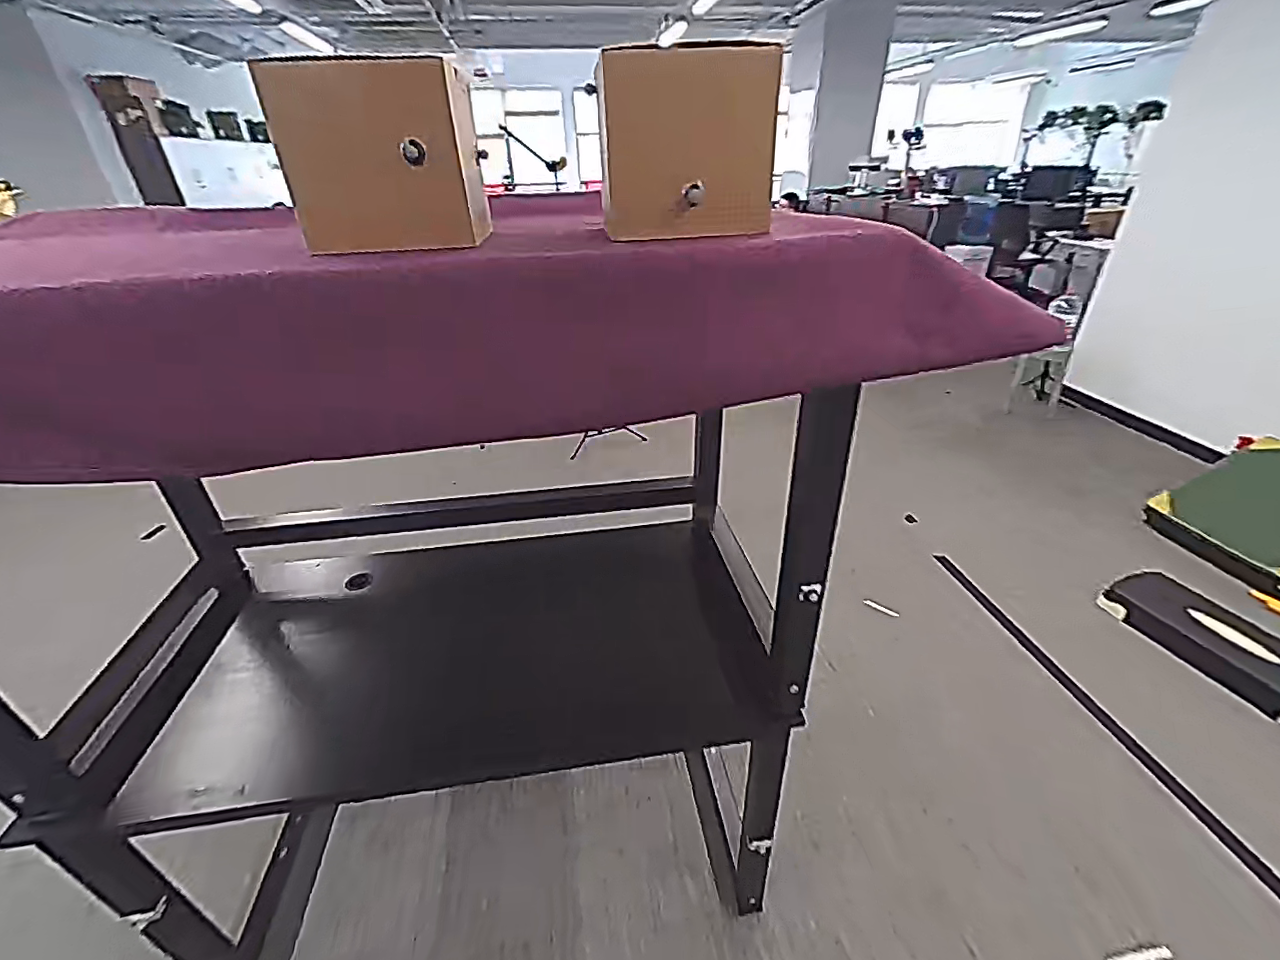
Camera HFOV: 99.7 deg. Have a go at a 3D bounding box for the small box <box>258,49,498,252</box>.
[{"bbox_3d":[-0.263,-0.356,0.599,0.179,0.176,0.168,-5,30,-4],"label":"small box"}]

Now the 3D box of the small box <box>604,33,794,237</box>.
[{"bbox_3d":[0.053,-0.375,0.604,0.179,0.176,0.168,-5,30,-4],"label":"small box"}]
